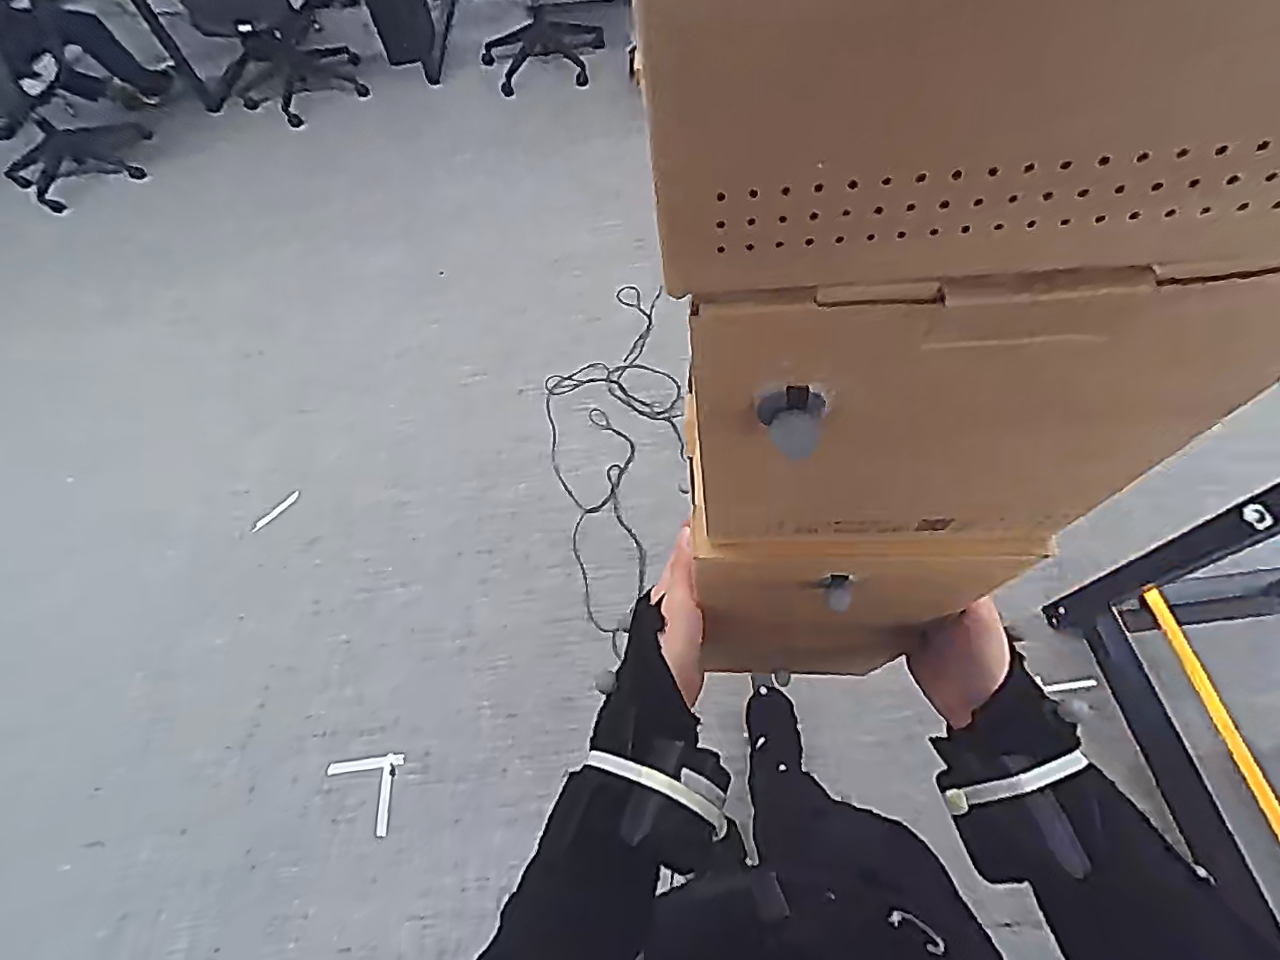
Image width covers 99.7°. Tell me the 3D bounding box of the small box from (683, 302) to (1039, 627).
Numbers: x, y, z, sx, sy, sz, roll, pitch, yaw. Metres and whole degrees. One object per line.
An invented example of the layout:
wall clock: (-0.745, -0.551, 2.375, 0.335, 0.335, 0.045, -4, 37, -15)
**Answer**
small box: (0.121, 0.002, 0.377, 0.179, 0.176, 0.168, -2, 63, 8)

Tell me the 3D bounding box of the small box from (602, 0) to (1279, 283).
small box: (0.081, -0.157, 0.091, 0.179, 0.176, 0.168, -2, 62, 8)

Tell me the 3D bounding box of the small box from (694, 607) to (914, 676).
small box: (0.136, 0.083, 0.518, 0.168, 0.176, 0.179, -1, 64, 8)
